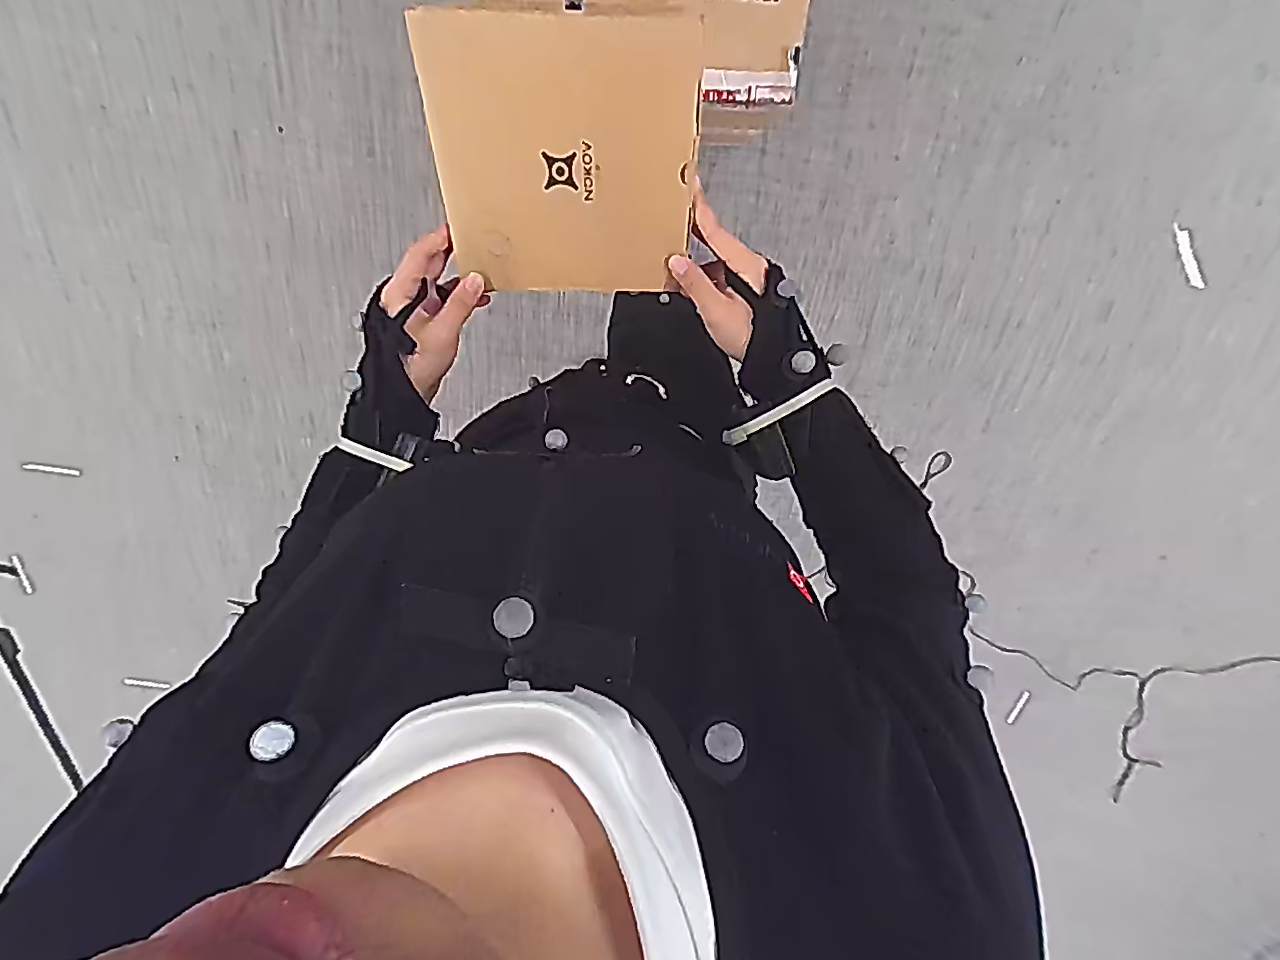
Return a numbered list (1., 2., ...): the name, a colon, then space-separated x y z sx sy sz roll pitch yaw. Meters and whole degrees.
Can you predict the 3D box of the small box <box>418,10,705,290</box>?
1. small box: -0.051 -0.267 0.436 0.179 0.176 0.168 -1 132 -3
